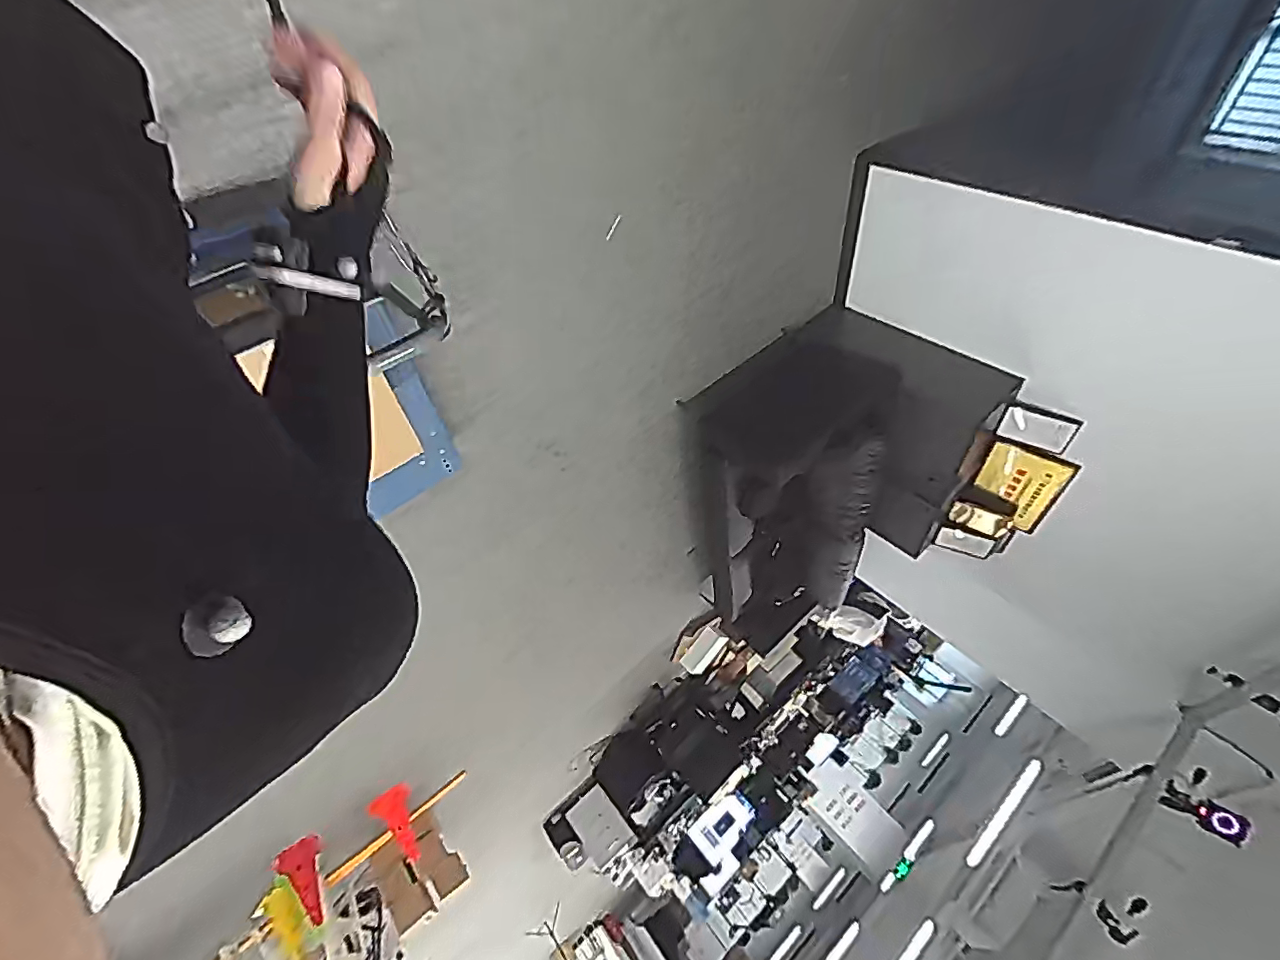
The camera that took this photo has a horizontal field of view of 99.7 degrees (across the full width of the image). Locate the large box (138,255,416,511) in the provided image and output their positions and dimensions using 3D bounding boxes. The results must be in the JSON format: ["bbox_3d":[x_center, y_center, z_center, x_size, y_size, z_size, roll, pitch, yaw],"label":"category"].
[{"bbox_3d":[-0.782,-0.216,1.207,0.320,0.320,0.408,-35,145,-23],"label":"large box"}]
